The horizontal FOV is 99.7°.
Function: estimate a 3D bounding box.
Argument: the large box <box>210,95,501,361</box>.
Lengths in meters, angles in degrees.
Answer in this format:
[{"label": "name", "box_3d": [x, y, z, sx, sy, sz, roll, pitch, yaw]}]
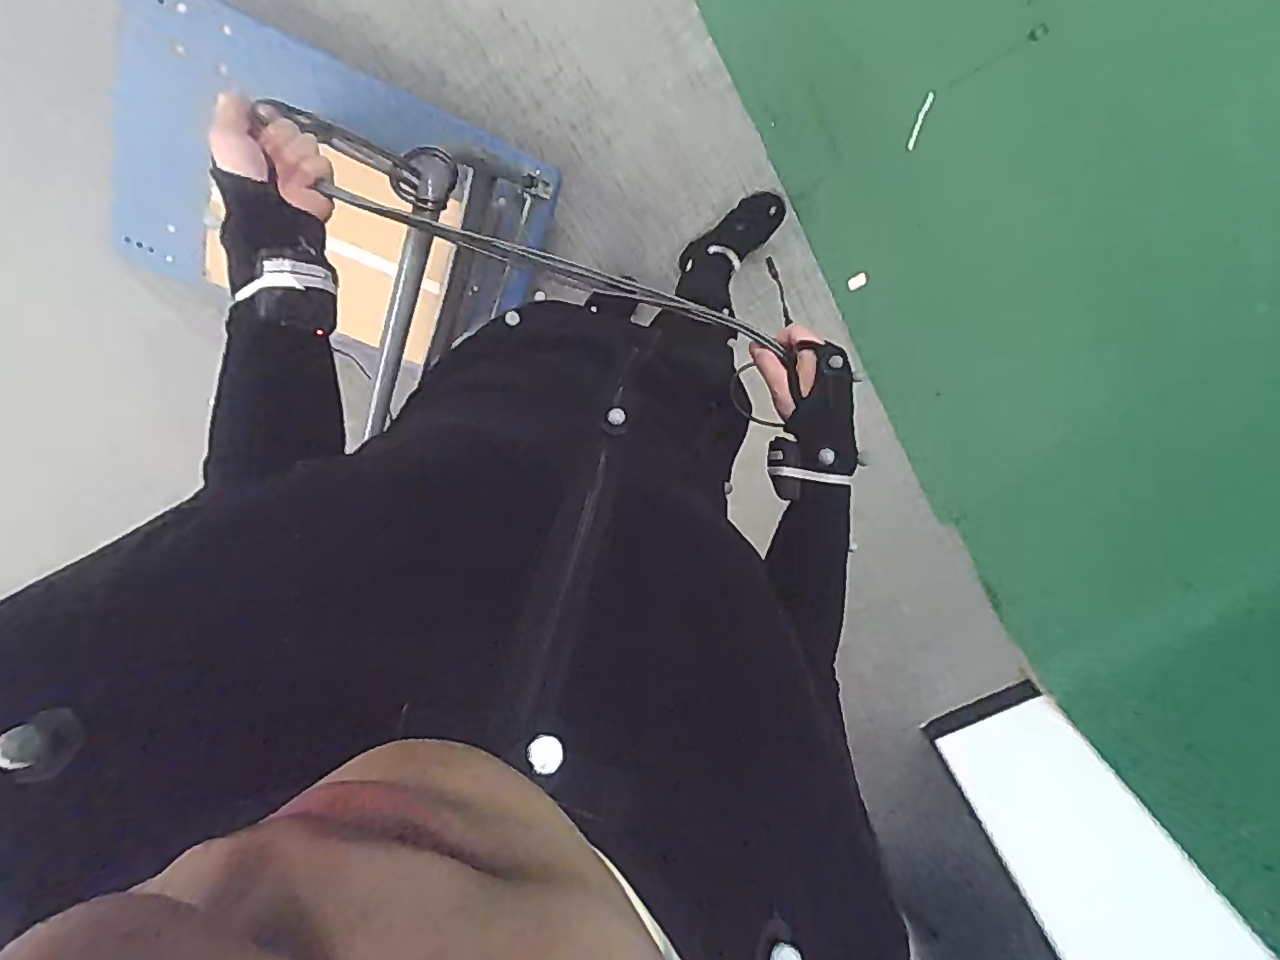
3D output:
[{"label": "large box", "box_3d": [-0.541, -0.489, 1.088, 0.408, 0.320, 0.320, 21, 114, -11]}]
